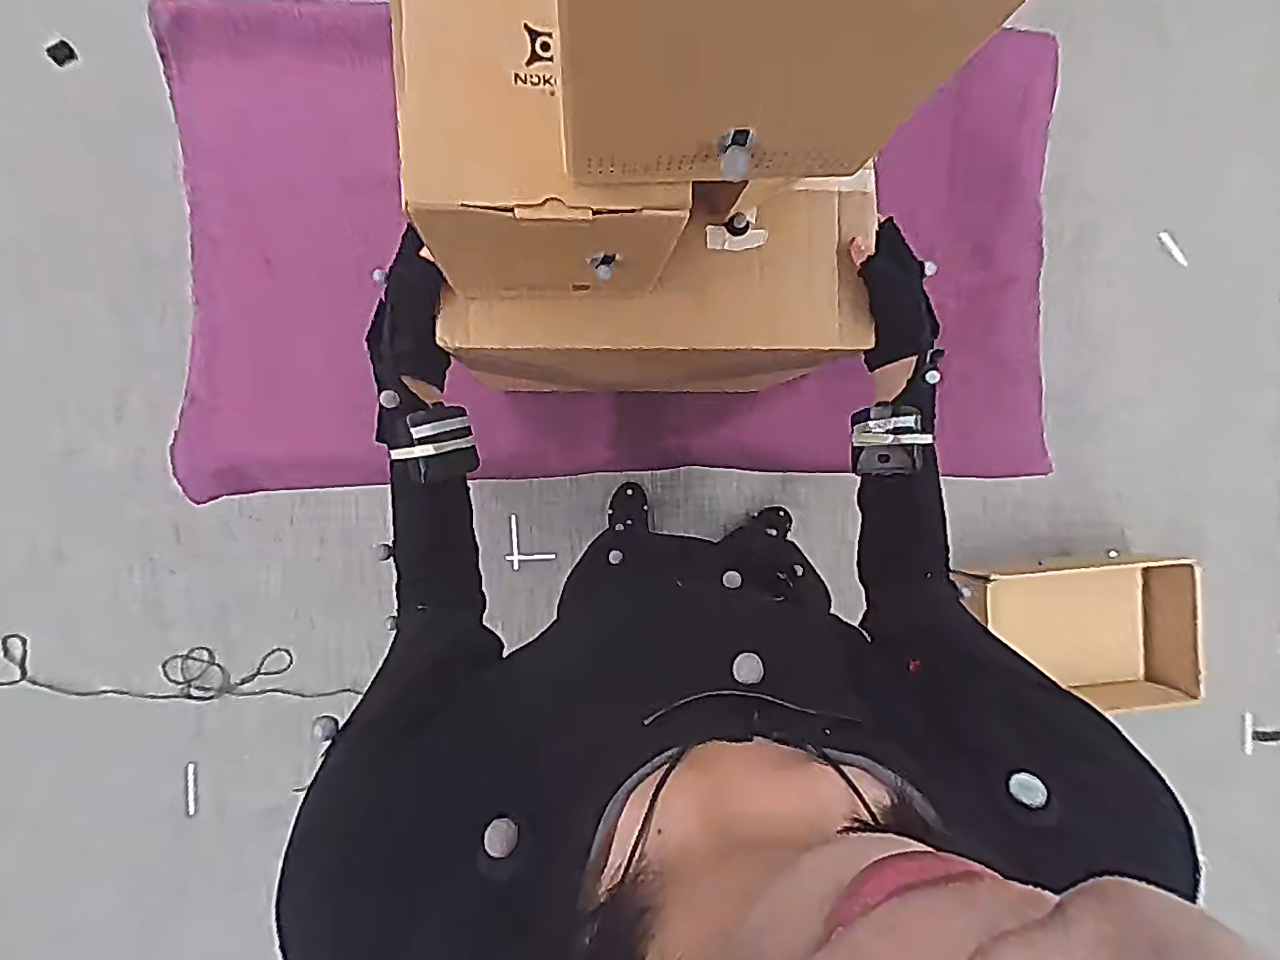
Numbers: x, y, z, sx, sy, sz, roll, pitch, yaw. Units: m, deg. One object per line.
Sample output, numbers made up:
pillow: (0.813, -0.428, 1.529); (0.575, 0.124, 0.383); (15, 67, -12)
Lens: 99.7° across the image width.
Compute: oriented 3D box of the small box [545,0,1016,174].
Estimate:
small box: (0.046, -0.253, 0.227); (0.179, 0.176, 0.168); (-5, 93, -6)

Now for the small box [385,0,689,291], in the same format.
small box: (-0.066, -0.242, 0.379); (0.168, 0.176, 0.179); (-3, 91, -9)

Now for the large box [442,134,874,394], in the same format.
large box: (0.001, -0.279, 0.631); (0.408, 0.320, 0.320); (-2, 93, -8)
